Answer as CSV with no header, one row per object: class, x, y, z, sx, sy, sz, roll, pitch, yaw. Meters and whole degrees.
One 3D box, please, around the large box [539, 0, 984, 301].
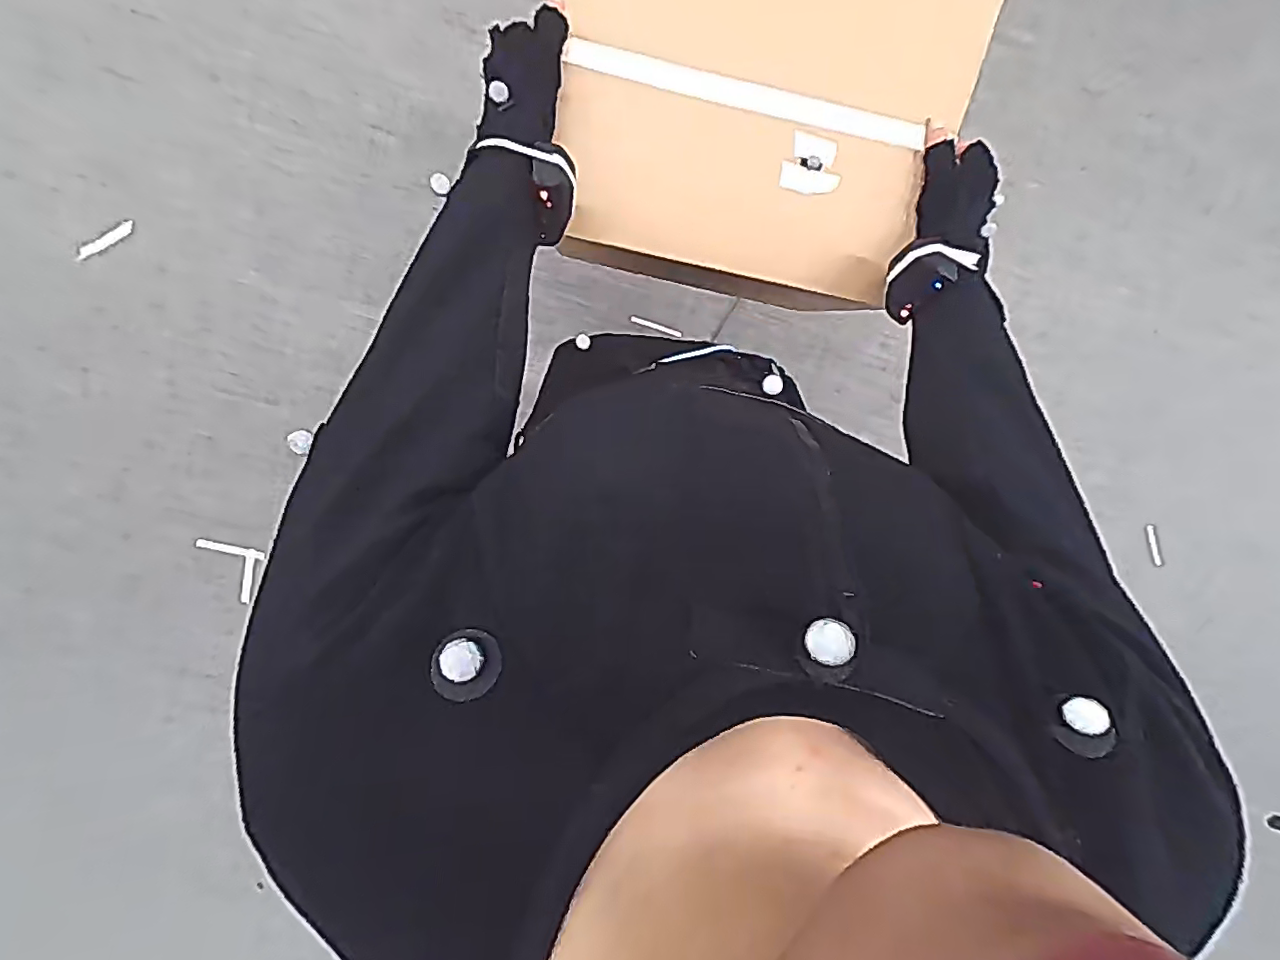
large box,0.106,-0.421,0.679,0.408,0.320,0.320,10,108,-6
